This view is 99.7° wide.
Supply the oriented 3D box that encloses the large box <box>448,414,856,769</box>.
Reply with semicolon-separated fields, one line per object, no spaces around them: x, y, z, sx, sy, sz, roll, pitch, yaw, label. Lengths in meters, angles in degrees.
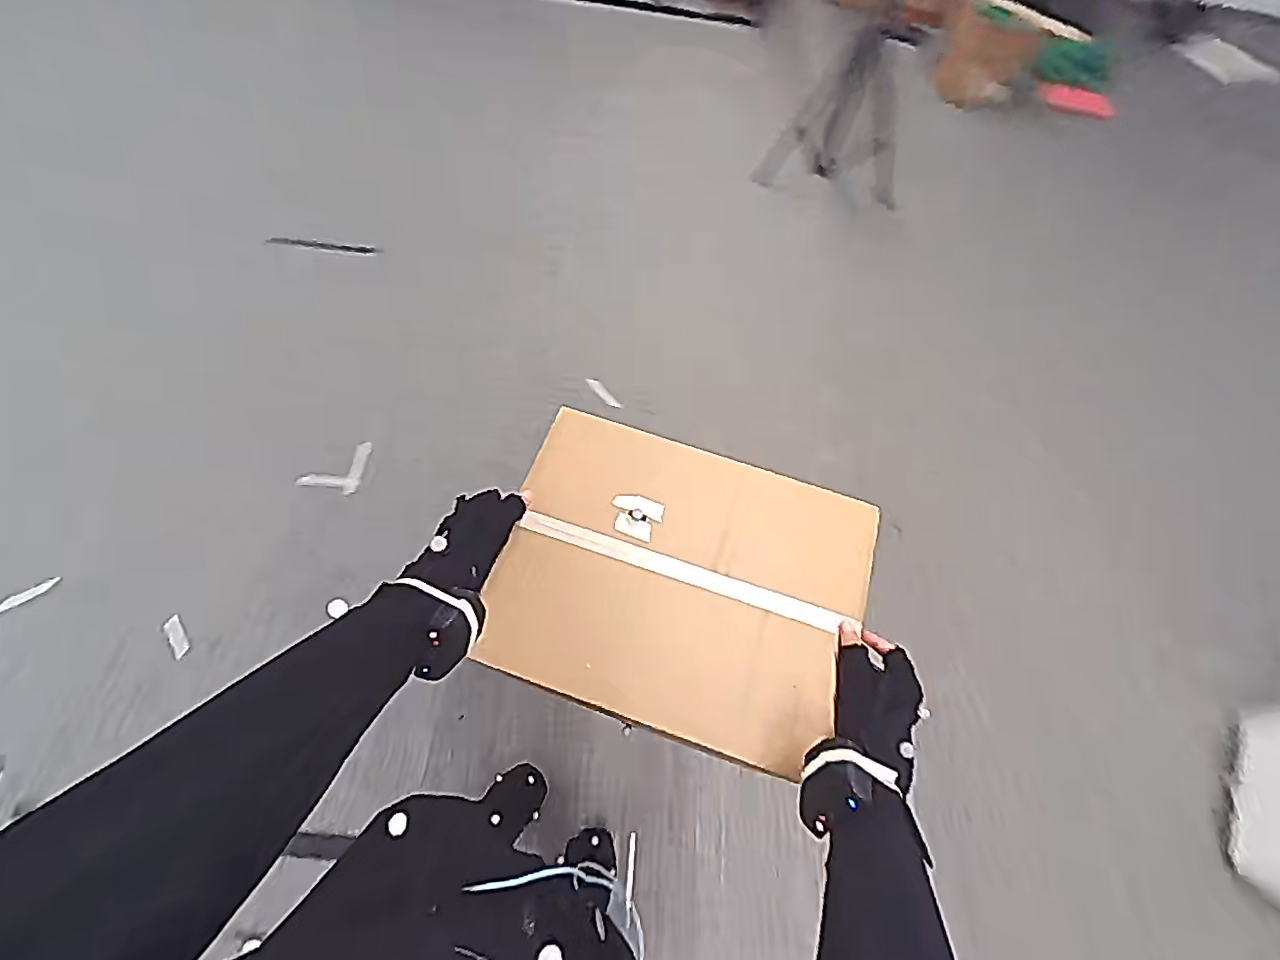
0.027;0.161;0.744;0.408;0.320;0.320;17;65;6;large box
